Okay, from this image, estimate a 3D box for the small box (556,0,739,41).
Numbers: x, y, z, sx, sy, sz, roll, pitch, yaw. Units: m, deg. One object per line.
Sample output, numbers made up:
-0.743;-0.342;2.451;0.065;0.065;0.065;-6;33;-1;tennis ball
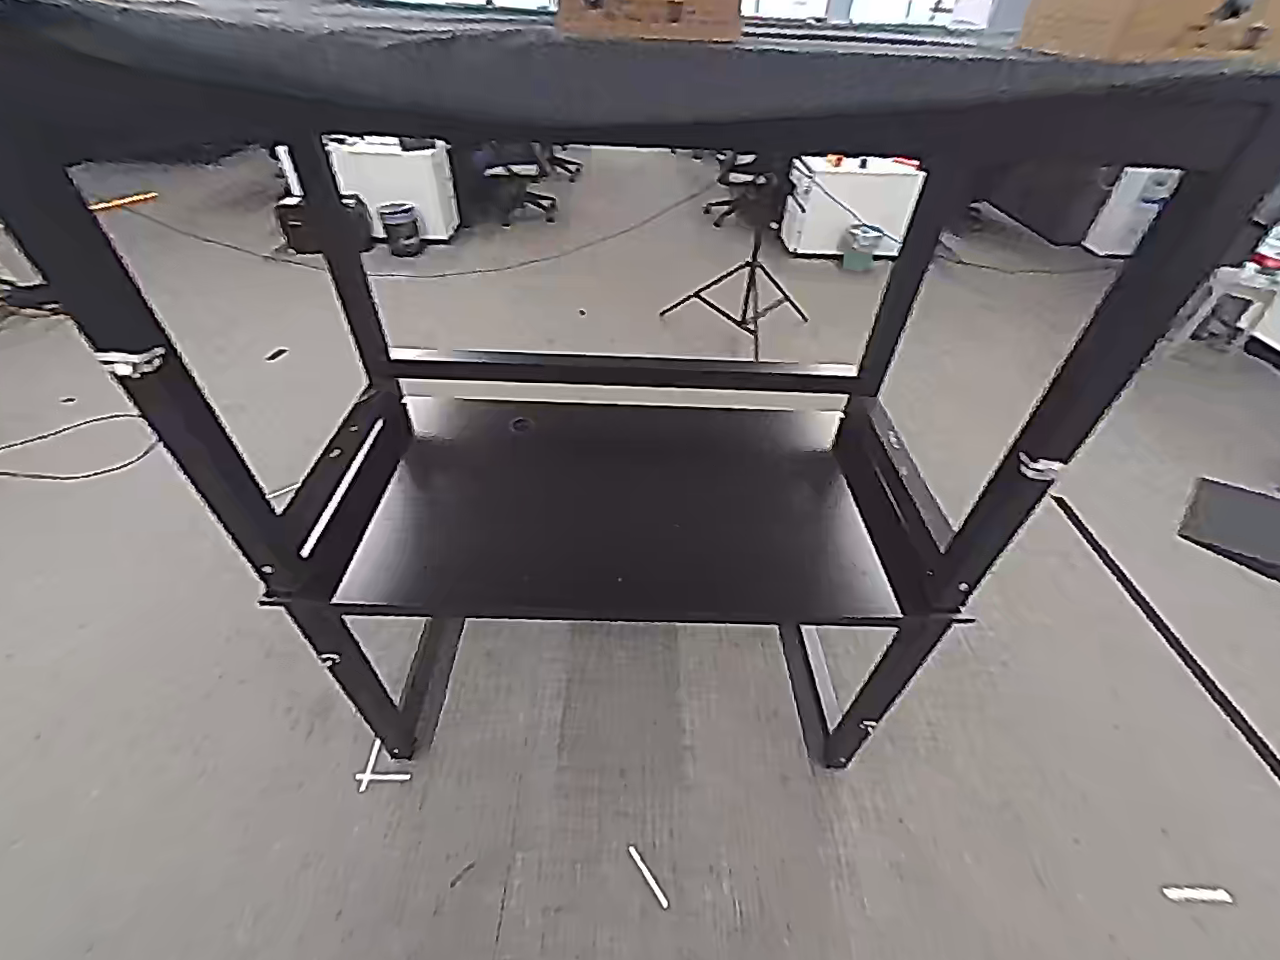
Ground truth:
0.007;-0.512;0.494;0.168;0.176;0.179;1;40;-2;small box
